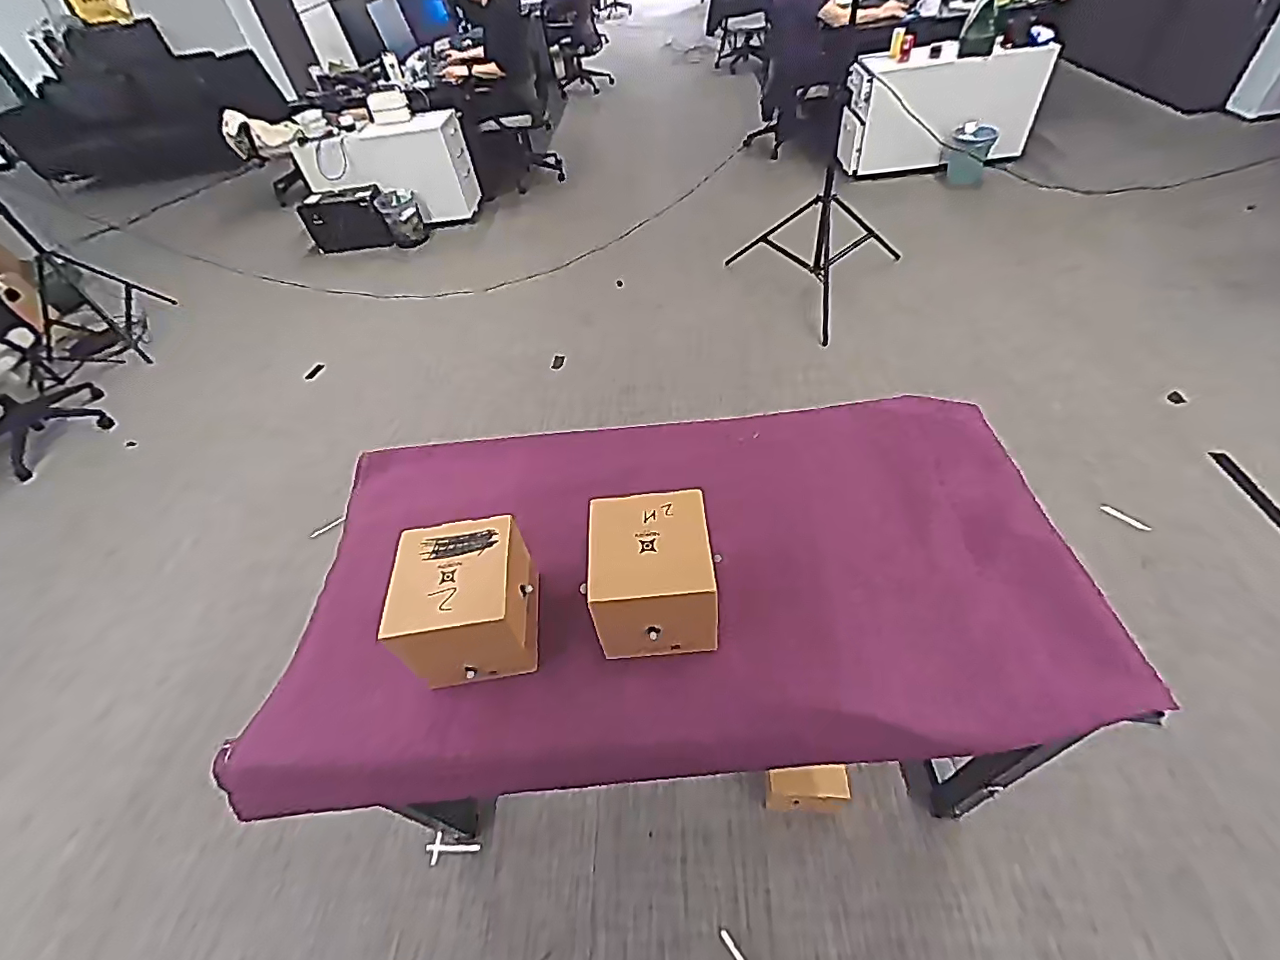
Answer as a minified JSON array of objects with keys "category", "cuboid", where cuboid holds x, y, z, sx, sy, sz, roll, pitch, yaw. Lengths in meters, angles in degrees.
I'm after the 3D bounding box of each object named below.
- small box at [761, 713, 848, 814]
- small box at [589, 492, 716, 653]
[{"category":"small box","cuboid":[0.376,0.665,1.265,0.168,0.176,0.179,-2,47,7]},{"category":"small box","cuboid":[0.022,0.142,0.798,0.168,0.176,0.179,-5,46,2]}]
